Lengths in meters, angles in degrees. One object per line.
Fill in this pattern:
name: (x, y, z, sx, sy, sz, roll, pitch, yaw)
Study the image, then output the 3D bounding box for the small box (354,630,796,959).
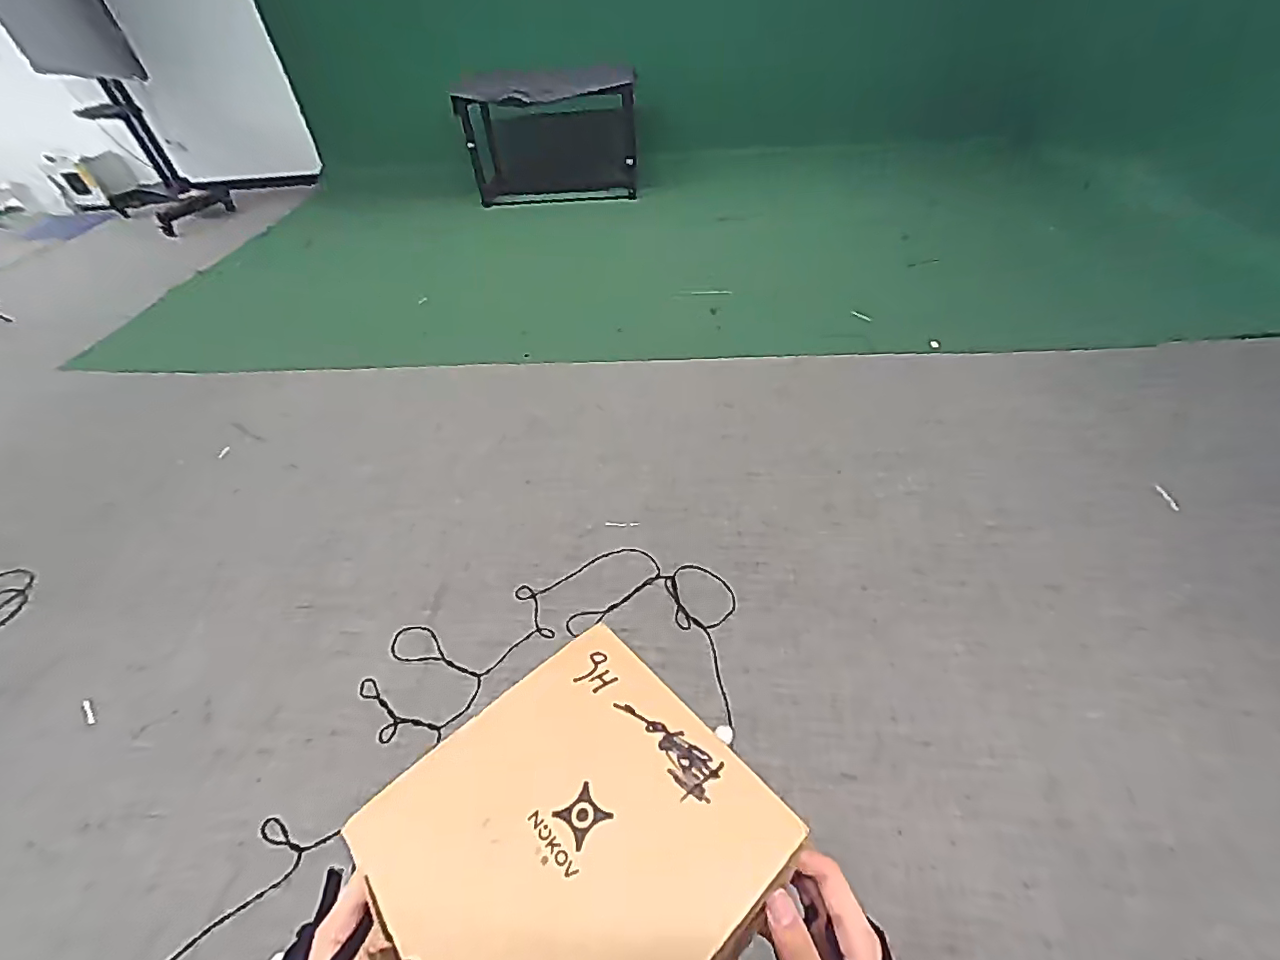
small box: (-0.028, 0.238, 0.330, 0.179, 0.176, 0.168, -34, 50, -26)
